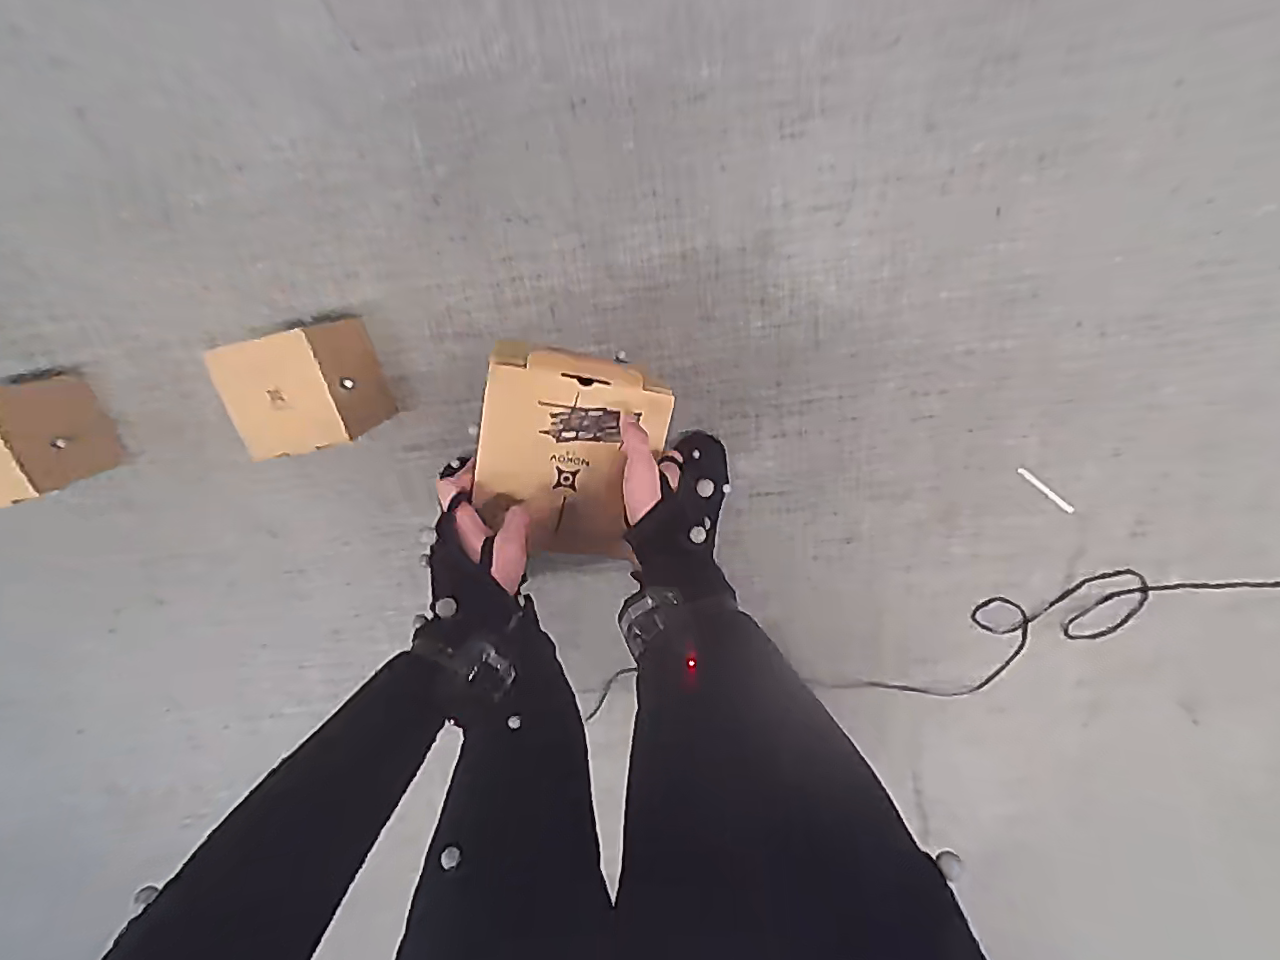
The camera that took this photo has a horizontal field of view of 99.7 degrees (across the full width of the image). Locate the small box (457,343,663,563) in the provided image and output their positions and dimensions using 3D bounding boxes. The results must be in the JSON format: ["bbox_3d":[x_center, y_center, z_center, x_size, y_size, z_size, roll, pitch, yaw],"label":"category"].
[{"bbox_3d":[-0.087,-0.036,0.560,0.168,0.176,0.179,7,110,-12],"label":"small box"}]

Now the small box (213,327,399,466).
[{"bbox_3d":[-0.533,-0.144,0.895,0.168,0.176,0.179,-12,109,7],"label":"small box"}]
